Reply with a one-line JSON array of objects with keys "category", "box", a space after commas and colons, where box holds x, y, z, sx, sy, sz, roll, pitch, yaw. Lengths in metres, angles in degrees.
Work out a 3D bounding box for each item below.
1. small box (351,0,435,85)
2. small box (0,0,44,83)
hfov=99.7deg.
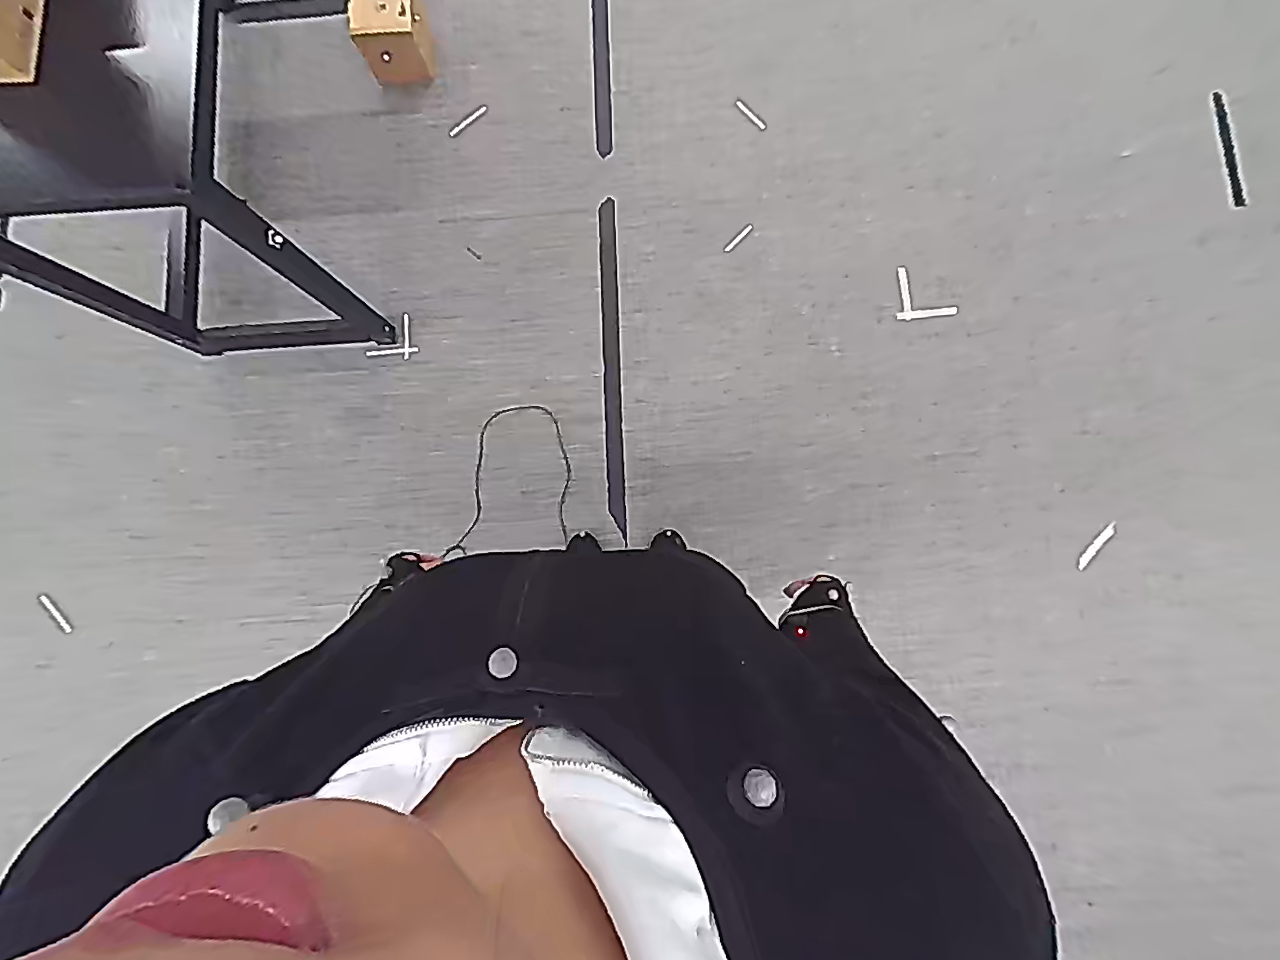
[{"category": "small box", "box": [-0.728, -1.313, 1.604, 0.179, 0.176, 0.168, -4, 85, 1]}, {"category": "small box", "box": [-1.078, -0.740, 0.818, 0.179, 0.176, 0.168, 0, 83, 2]}]
